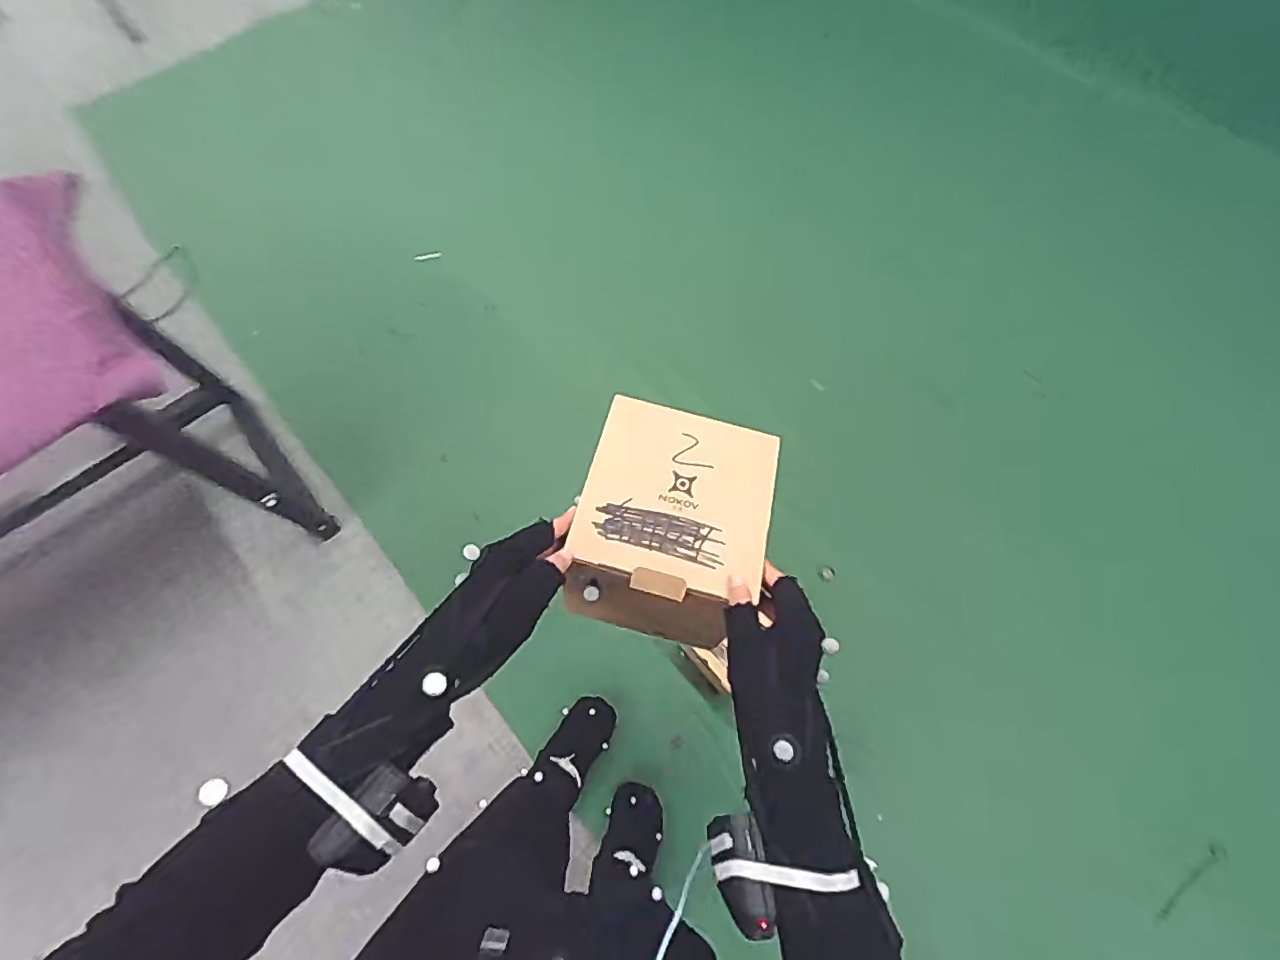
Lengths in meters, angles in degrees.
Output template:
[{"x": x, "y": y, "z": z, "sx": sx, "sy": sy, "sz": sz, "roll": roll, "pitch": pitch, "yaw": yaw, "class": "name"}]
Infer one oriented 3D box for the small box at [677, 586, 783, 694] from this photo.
[{"x": 0.203, "y": 0.380, "z": 1.262, "sx": 0.179, "sy": 0.176, "sz": 0.168, "roll": -38, "pitch": 71, "yaw": -14, "class": "small box"}]
